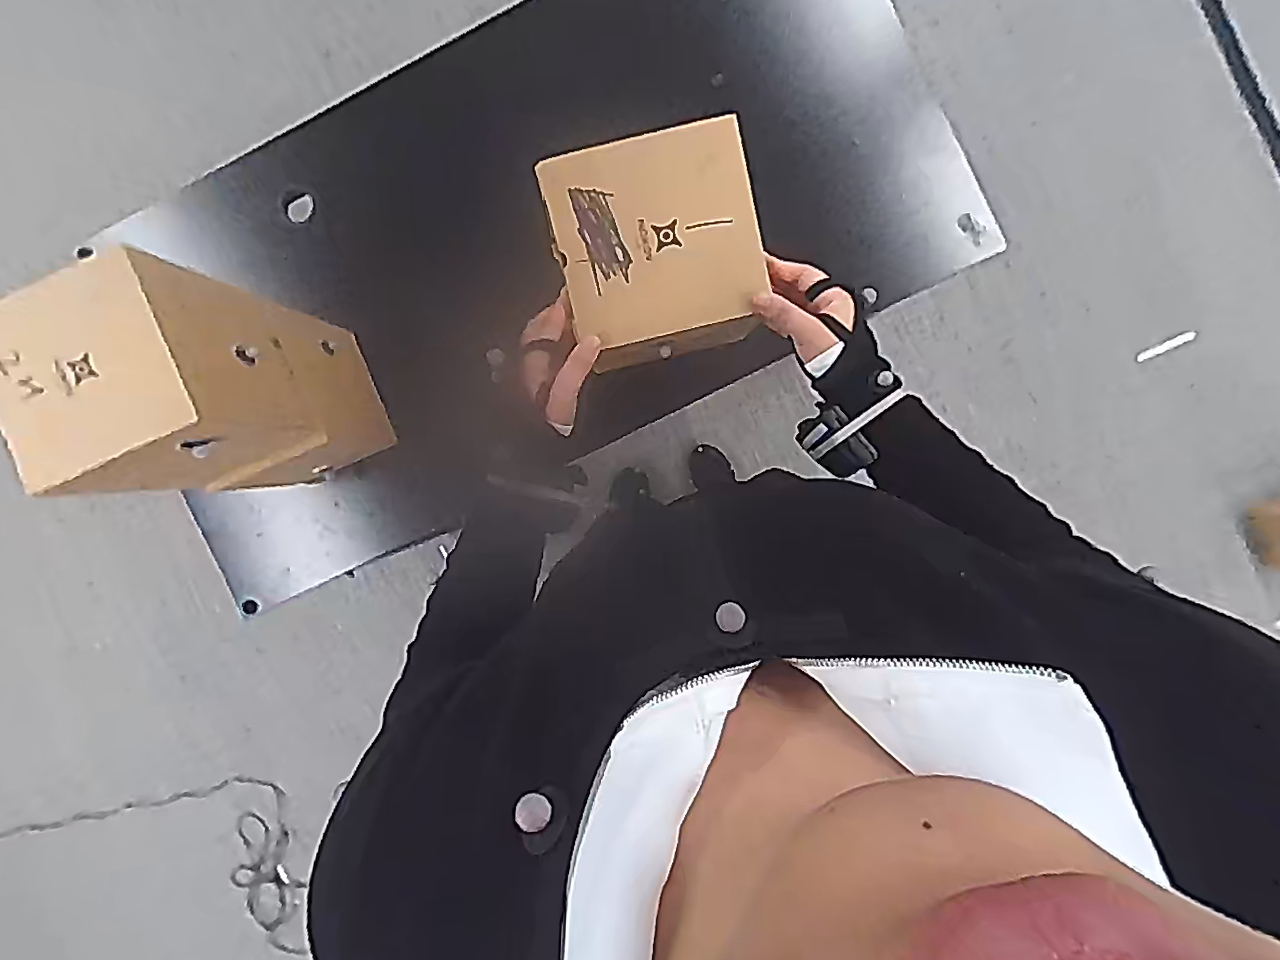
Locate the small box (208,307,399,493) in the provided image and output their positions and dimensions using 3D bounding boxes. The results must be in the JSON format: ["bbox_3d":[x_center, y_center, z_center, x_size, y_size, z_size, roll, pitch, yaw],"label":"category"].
[{"bbox_3d":[-0.456,-0.095,0.709,0.168,0.176,0.179,-23,92,4],"label":"small box"}]

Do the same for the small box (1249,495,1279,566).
[{"bbox_3d":[1.692,0.124,1.343,0.179,0.176,0.168,-24,92,5],"label":"small box"}]

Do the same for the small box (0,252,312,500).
[{"bbox_3d":[-0.472,-0.092,0.544,0.179,0.176,0.168,-23,91,5],"label":"small box"}]

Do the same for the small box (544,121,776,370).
[{"bbox_3d":[0.019,-0.213,0.541,0.179,0.176,0.168,-12,96,1],"label":"small box"}]
